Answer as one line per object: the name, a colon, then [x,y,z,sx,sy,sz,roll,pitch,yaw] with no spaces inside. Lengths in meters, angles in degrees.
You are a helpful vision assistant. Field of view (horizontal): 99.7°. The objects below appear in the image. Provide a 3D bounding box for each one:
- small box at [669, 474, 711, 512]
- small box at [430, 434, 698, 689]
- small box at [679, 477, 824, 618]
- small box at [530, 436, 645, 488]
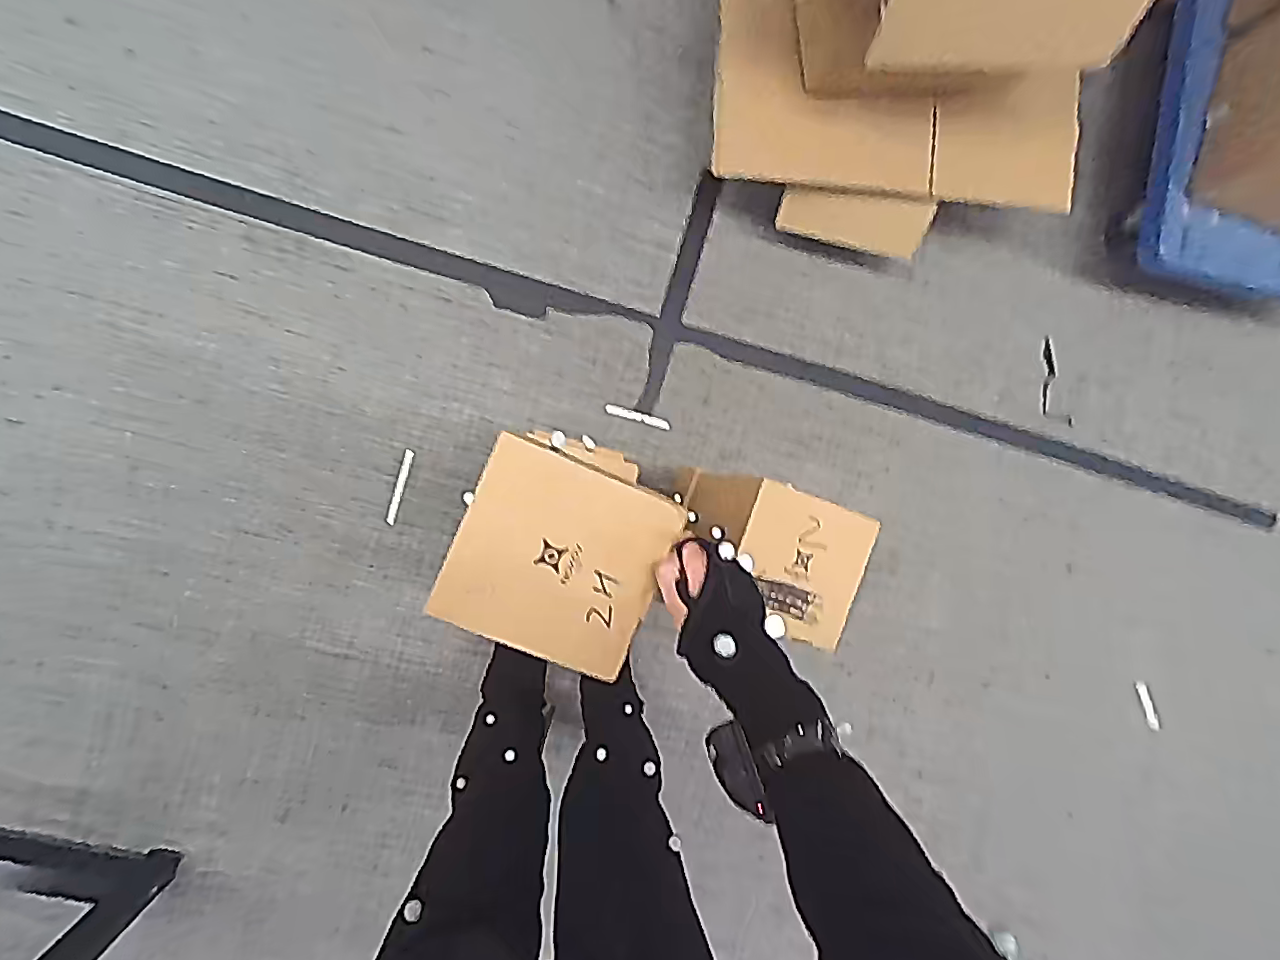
small box: [0.149,0.090,1.066,0.179,0.176,0.168,21,90,-9]
small box: [-0.071,0.066,0.526,0.179,0.176,0.168,24,91,-9]
small box: [0.172,0.103,0.903,0.168,0.176,0.179,20,89,-8]
small box: [-0.108,0.036,0.864,0.179,0.176,0.168,16,90,-10]
